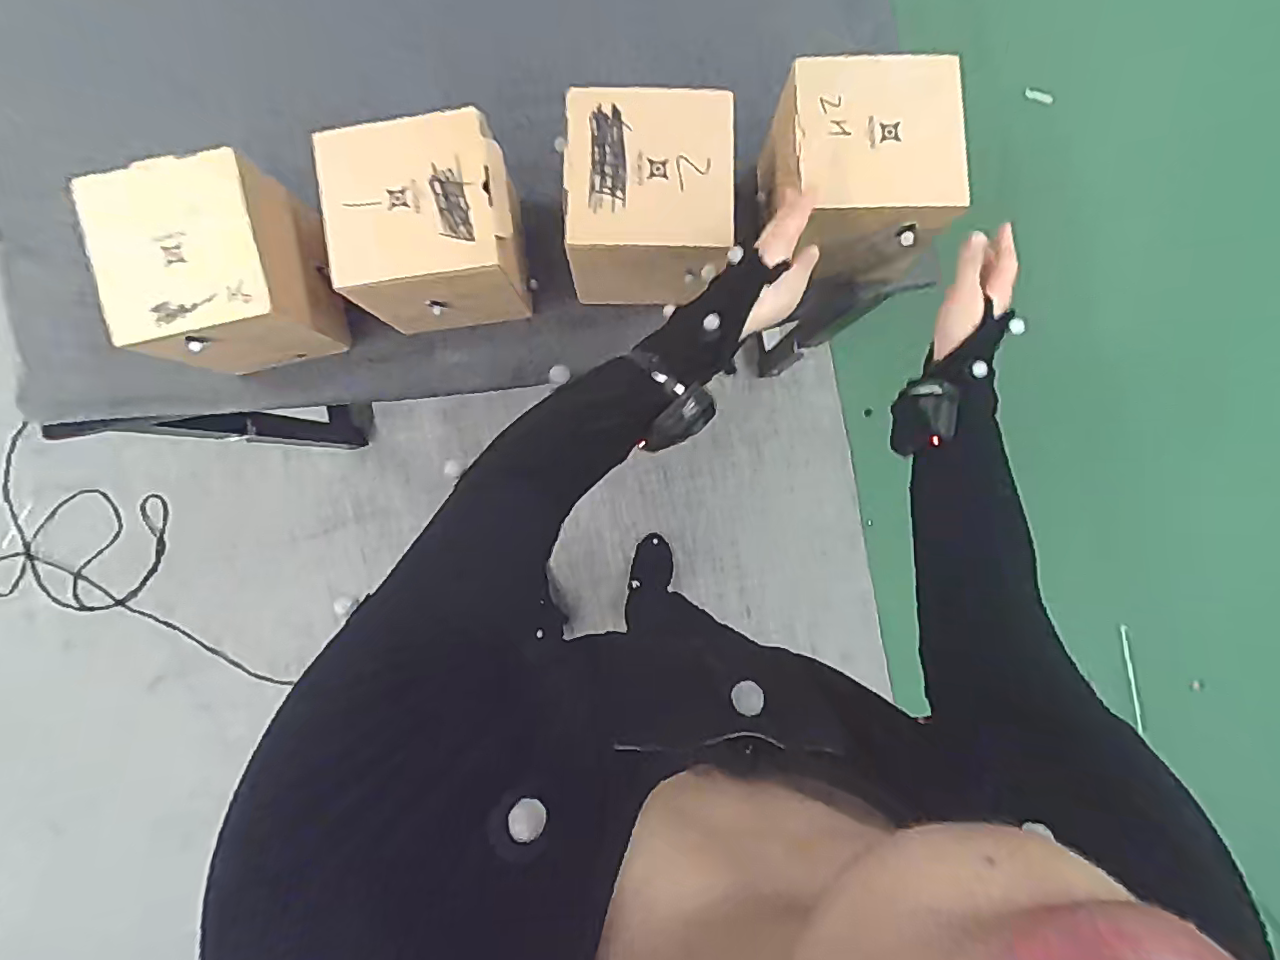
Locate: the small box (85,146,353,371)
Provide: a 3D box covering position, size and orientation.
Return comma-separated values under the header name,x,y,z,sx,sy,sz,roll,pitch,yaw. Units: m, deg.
name,x,y,z,sx,sy,sz,roll,pitch,yaw
small box,-0.469,-0.242,0.631,0.168,0.176,0.179,-12,90,0
